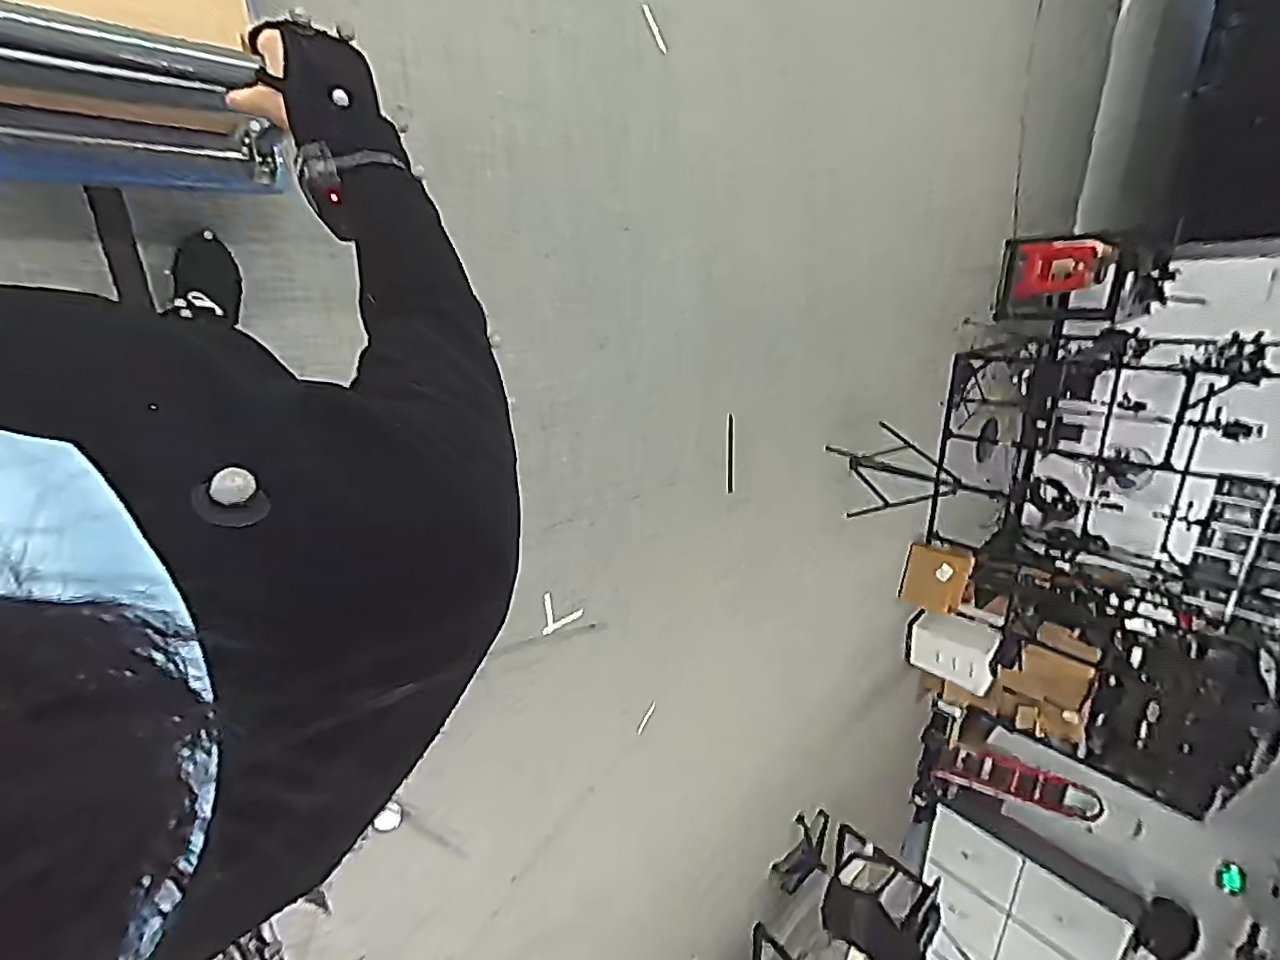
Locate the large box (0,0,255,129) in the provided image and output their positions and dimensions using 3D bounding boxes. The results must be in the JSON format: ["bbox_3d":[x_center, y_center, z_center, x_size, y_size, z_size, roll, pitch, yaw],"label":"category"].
[{"bbox_3d":[-0.782,-0.677,0.676,0.408,0.320,0.320,-18,116,-39],"label":"large box"}]
